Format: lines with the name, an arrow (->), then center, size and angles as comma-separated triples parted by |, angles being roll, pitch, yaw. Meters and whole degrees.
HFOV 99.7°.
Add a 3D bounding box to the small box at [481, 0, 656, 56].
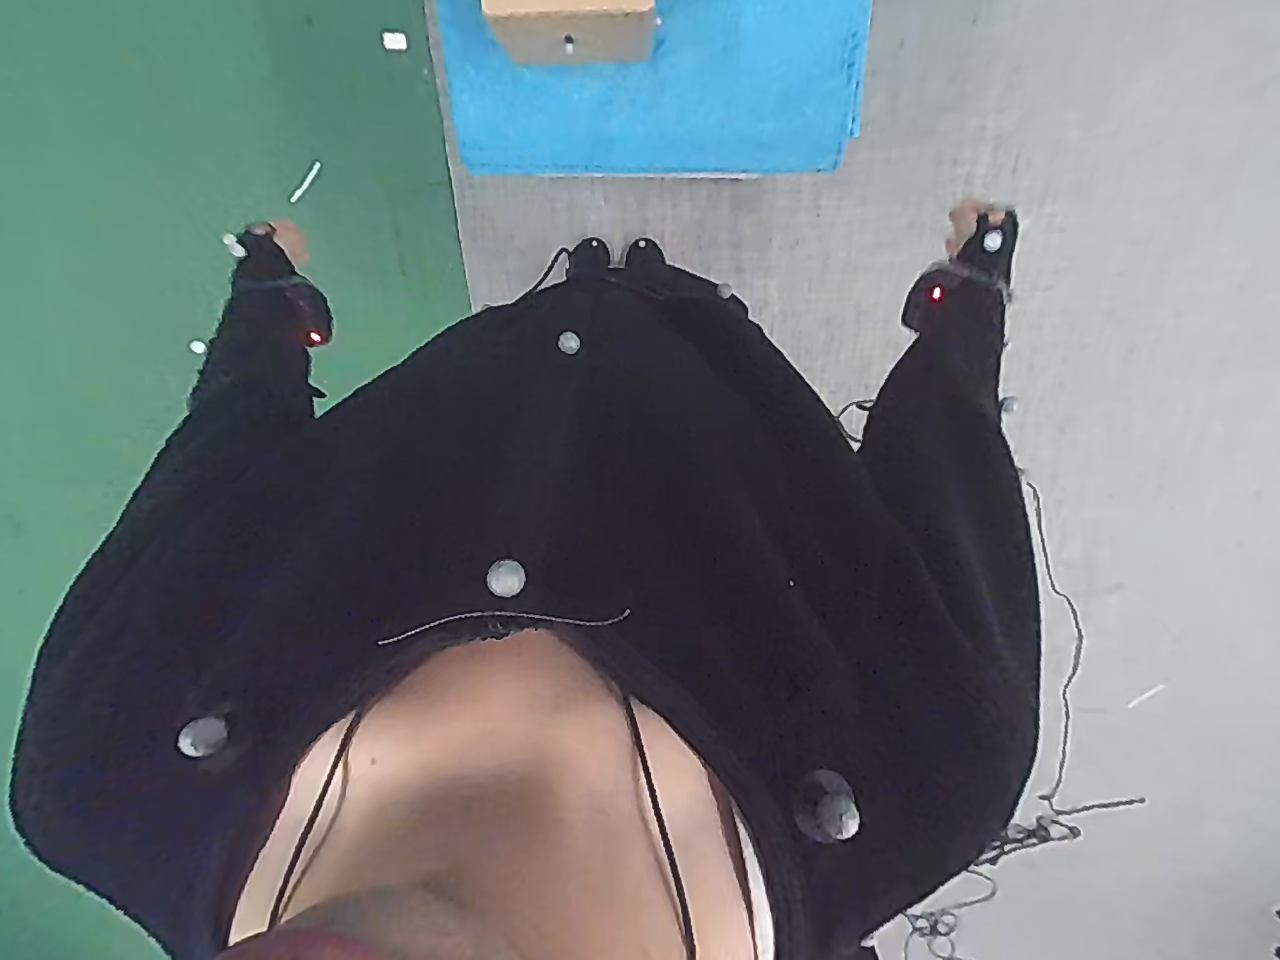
small box -> -0.074, -0.577, 0.574 | 0.179, 0.176, 0.168 | -2, 114, 0
